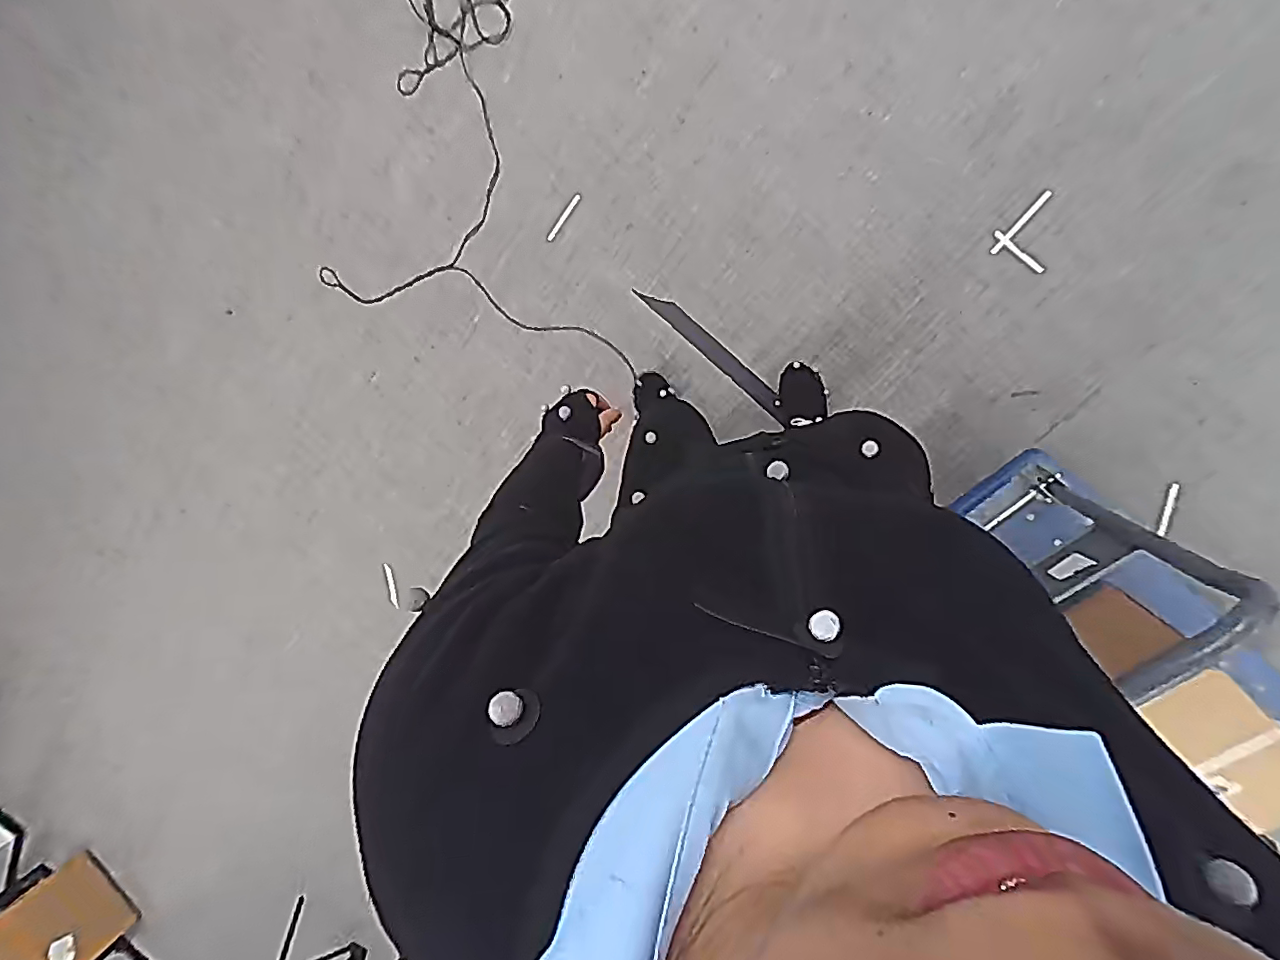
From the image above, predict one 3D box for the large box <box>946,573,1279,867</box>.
[{"bbox_3d":[0.939,0.470,1.112,0.320,0.320,0.408,45,109,0],"label":"large box"}]
